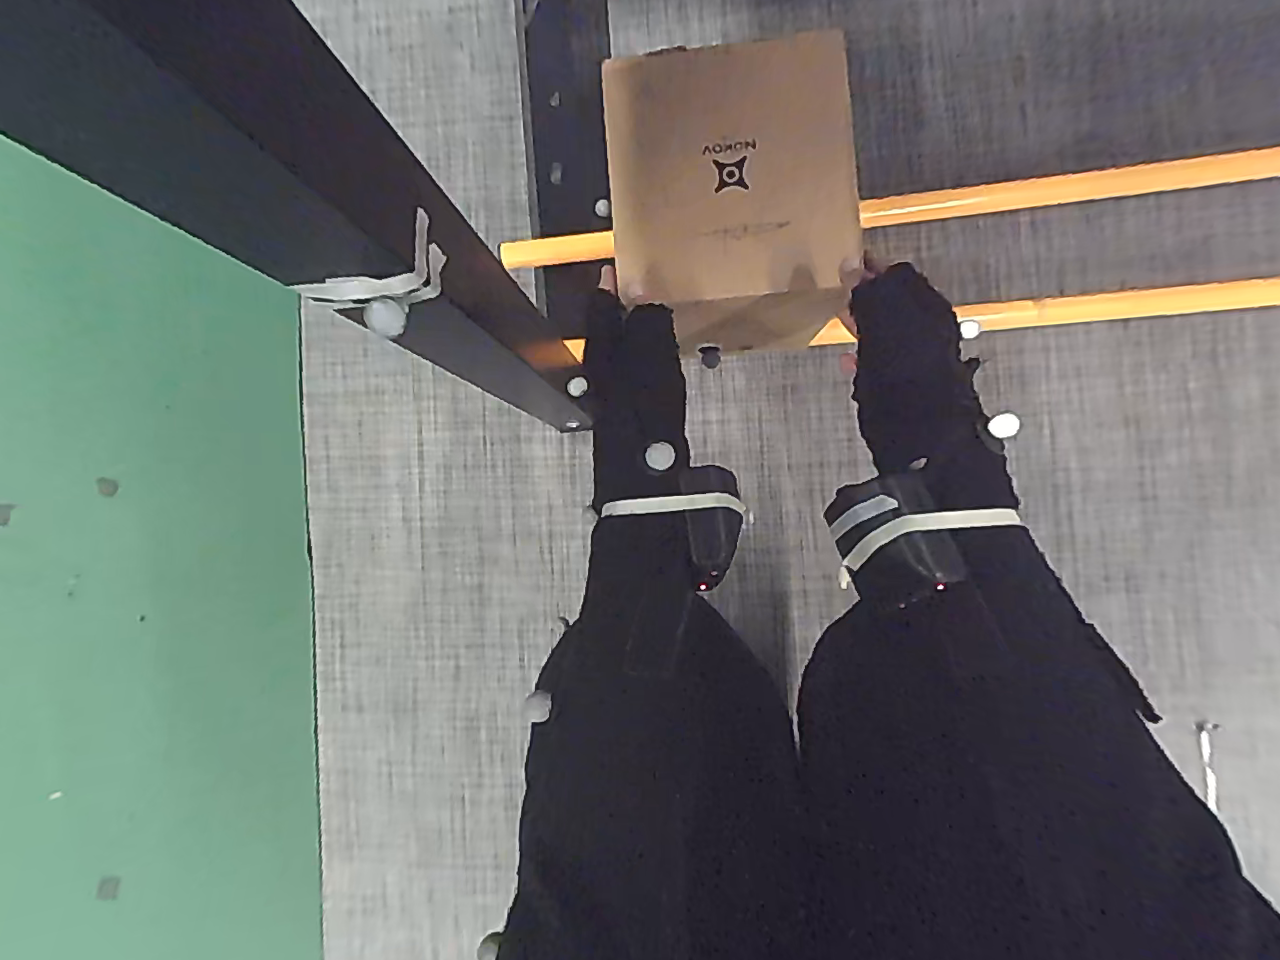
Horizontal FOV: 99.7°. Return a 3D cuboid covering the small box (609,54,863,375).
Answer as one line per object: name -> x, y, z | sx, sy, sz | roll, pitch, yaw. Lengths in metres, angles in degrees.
small box -> 0.068, -0.198, 0.451 | 0.168, 0.176, 0.179 | -5, 89, 4
